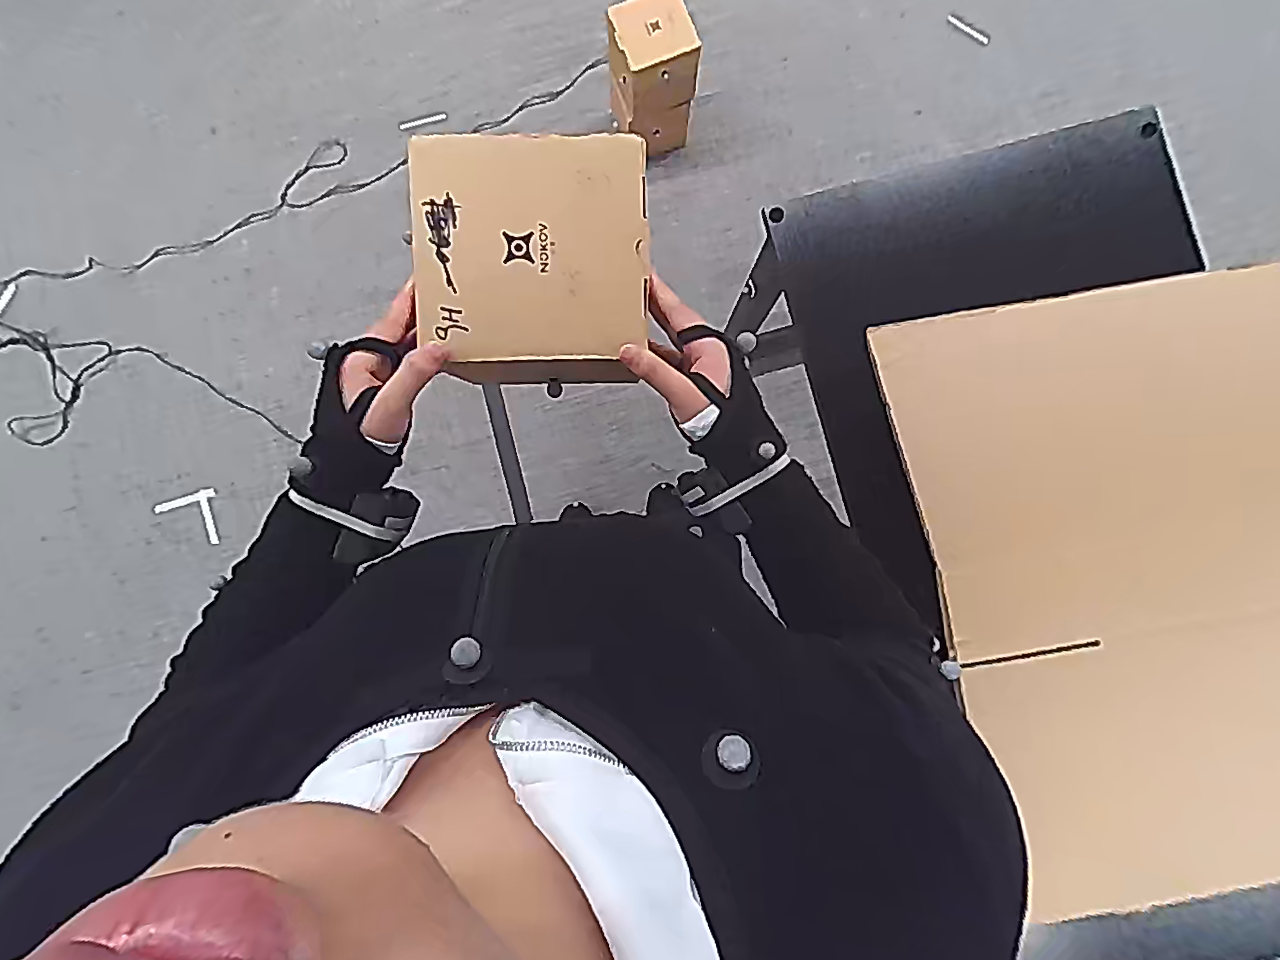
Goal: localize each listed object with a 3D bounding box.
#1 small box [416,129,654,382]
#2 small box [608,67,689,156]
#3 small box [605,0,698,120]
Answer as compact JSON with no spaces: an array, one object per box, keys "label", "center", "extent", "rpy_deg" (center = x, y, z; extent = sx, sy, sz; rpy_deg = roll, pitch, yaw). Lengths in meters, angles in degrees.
[{"label":"small box","center":[-0.083,-0.182,0.488],"extent":[0.179,0.176,0.168],"rpy_deg":[-2,93,-4]},{"label":"small box","center":[0.021,-1.022,1.490],"extent":[0.179,0.176,0.168],"rpy_deg":[-19,87,-1]},{"label":"small box","center":[0.028,-1.033,1.328],"extent":[0.179,0.176,0.168],"rpy_deg":[-21,88,-2]}]
